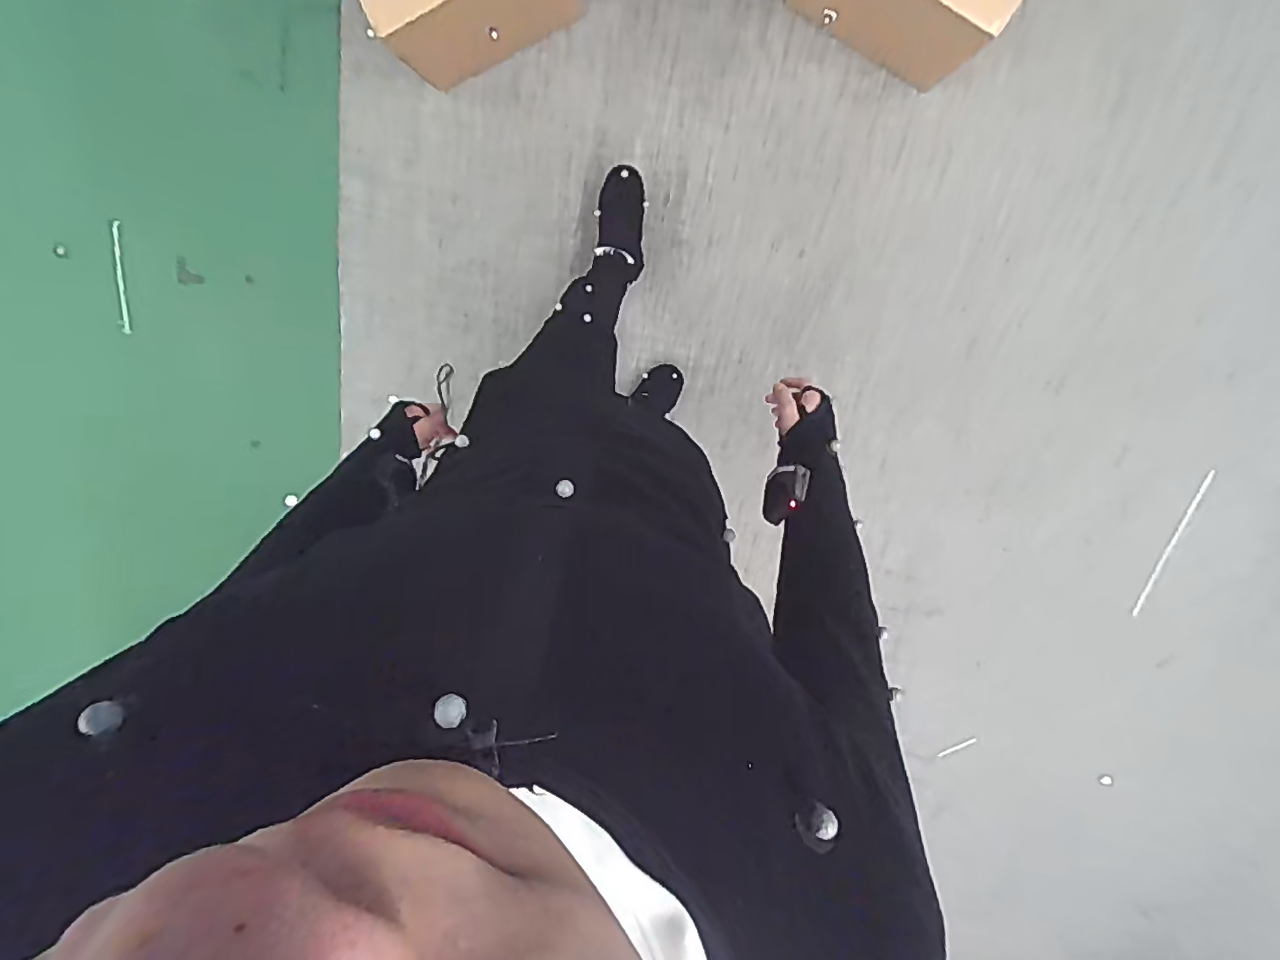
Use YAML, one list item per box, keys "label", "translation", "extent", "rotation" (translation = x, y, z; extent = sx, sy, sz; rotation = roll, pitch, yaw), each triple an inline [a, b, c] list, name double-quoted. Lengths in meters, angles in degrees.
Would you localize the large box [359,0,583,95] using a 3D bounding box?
- label: "large box"
  translation: [-0.385, -1.120, 1.147]
  extent: [0.408, 0.320, 0.320]
  rotation: [-20, 104, 12]
